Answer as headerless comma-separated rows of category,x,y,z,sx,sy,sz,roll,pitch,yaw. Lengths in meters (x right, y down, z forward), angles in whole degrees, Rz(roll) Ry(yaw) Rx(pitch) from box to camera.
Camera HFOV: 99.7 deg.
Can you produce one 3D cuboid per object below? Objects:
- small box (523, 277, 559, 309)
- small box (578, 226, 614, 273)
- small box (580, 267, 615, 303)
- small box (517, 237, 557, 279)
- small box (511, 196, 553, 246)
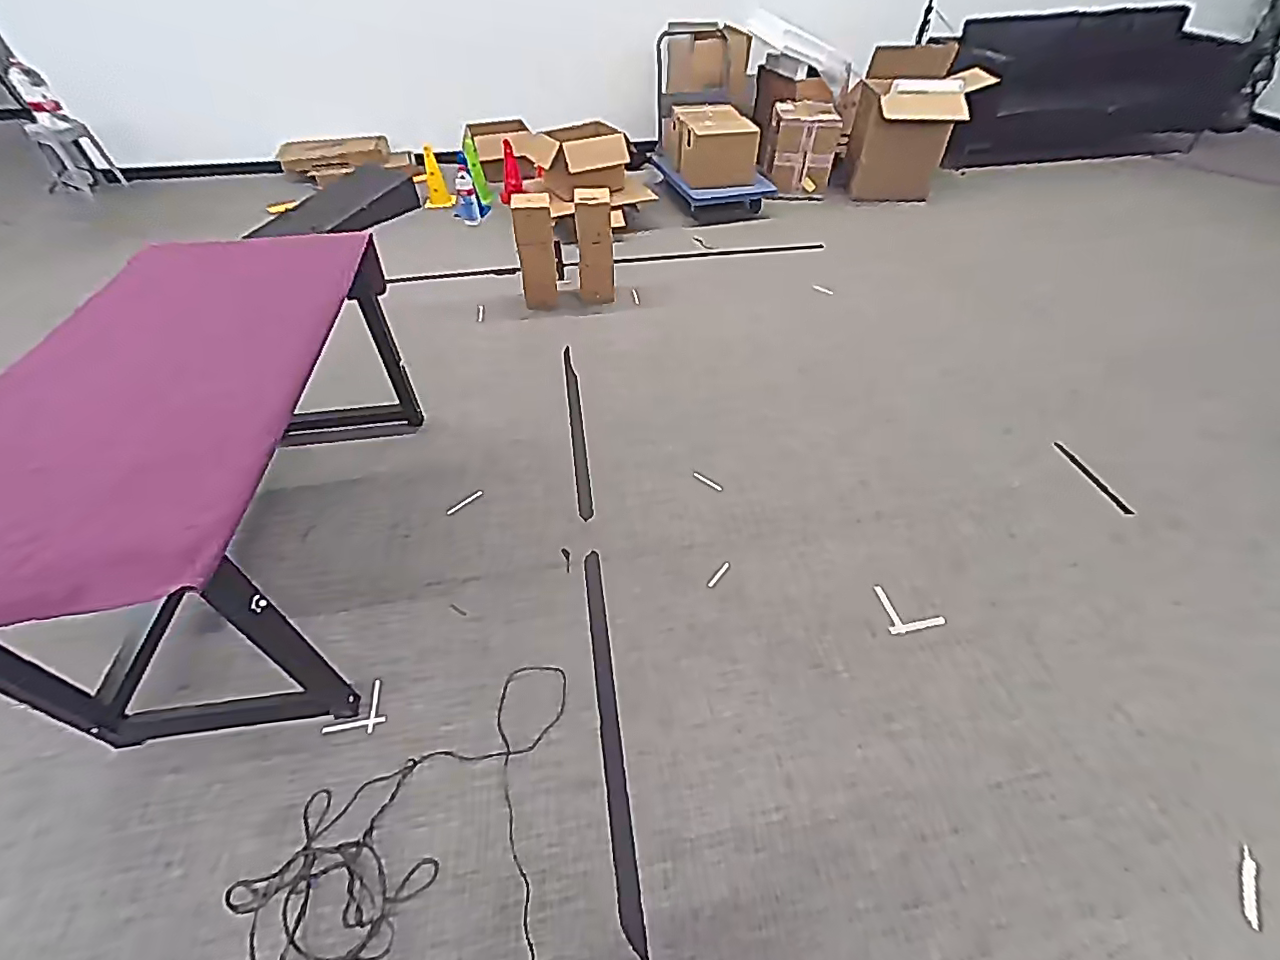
small box,-0.509,-0.990,2.765,0.168,0.176,0.179,-7,47,-8
small box,-0.218,-1.140,2.682,0.168,0.176,0.179,-4,47,-5
small box,-0.223,-1.032,2.807,0.179,0.176,0.168,-2,48,-4
small box,-0.502,-1.095,2.641,0.179,0.176,0.168,-6,48,-8
small box,-0.501,-1.207,2.521,0.179,0.176,0.168,-5,48,-8
